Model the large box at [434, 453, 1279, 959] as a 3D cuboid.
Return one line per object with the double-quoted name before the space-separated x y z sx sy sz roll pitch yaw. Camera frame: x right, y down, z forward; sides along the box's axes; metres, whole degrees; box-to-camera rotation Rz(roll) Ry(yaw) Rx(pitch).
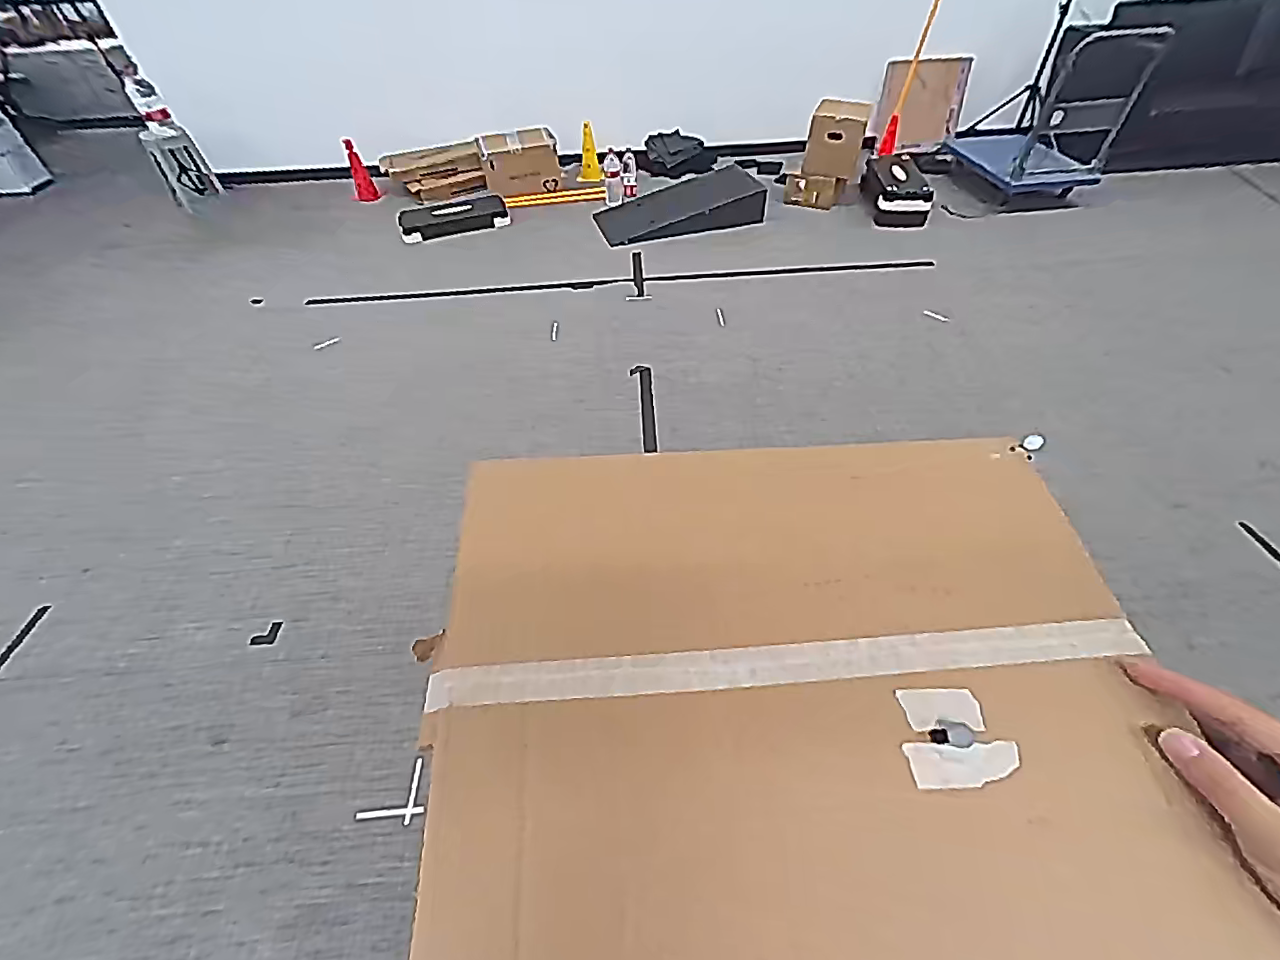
"large box" 0.088 0.200 0.439 0.408 0.320 0.320 -3 56 -4
